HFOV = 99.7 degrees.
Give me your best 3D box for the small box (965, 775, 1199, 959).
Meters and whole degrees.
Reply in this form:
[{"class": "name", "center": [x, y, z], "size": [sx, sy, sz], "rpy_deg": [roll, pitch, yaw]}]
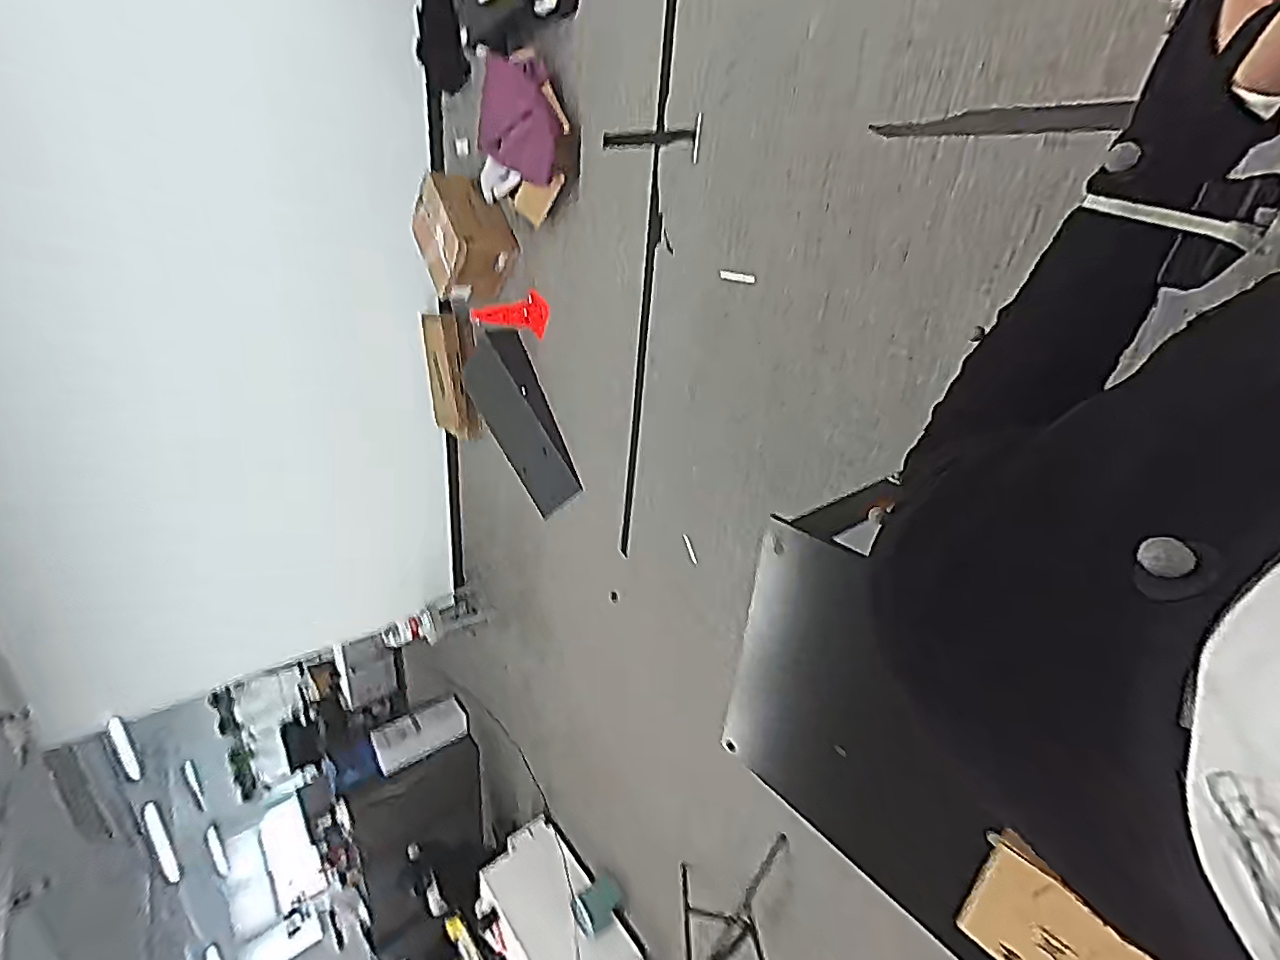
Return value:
[{"class": "small box", "center": [0.539, 0.511, 0.663], "size": [0.168, 0.176, 0.179], "rpy_deg": [27, 121, 43]}]
